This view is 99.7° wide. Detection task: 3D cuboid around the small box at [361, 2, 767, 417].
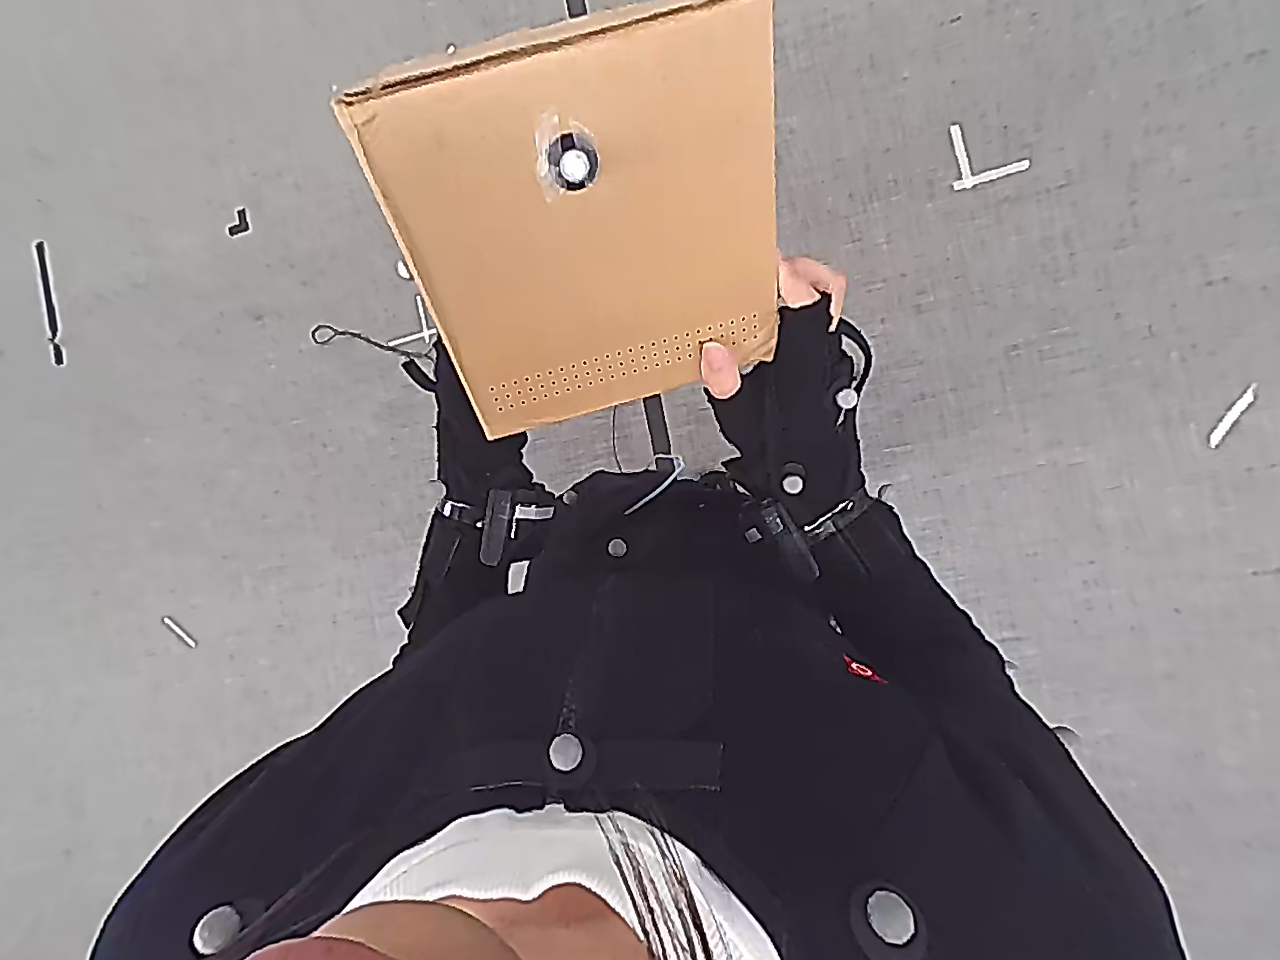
[{"bbox_3d":[-0.032,-0.162,0.334,0.179,0.168,0.176,-16,132,-2],"label":"small box"}]
